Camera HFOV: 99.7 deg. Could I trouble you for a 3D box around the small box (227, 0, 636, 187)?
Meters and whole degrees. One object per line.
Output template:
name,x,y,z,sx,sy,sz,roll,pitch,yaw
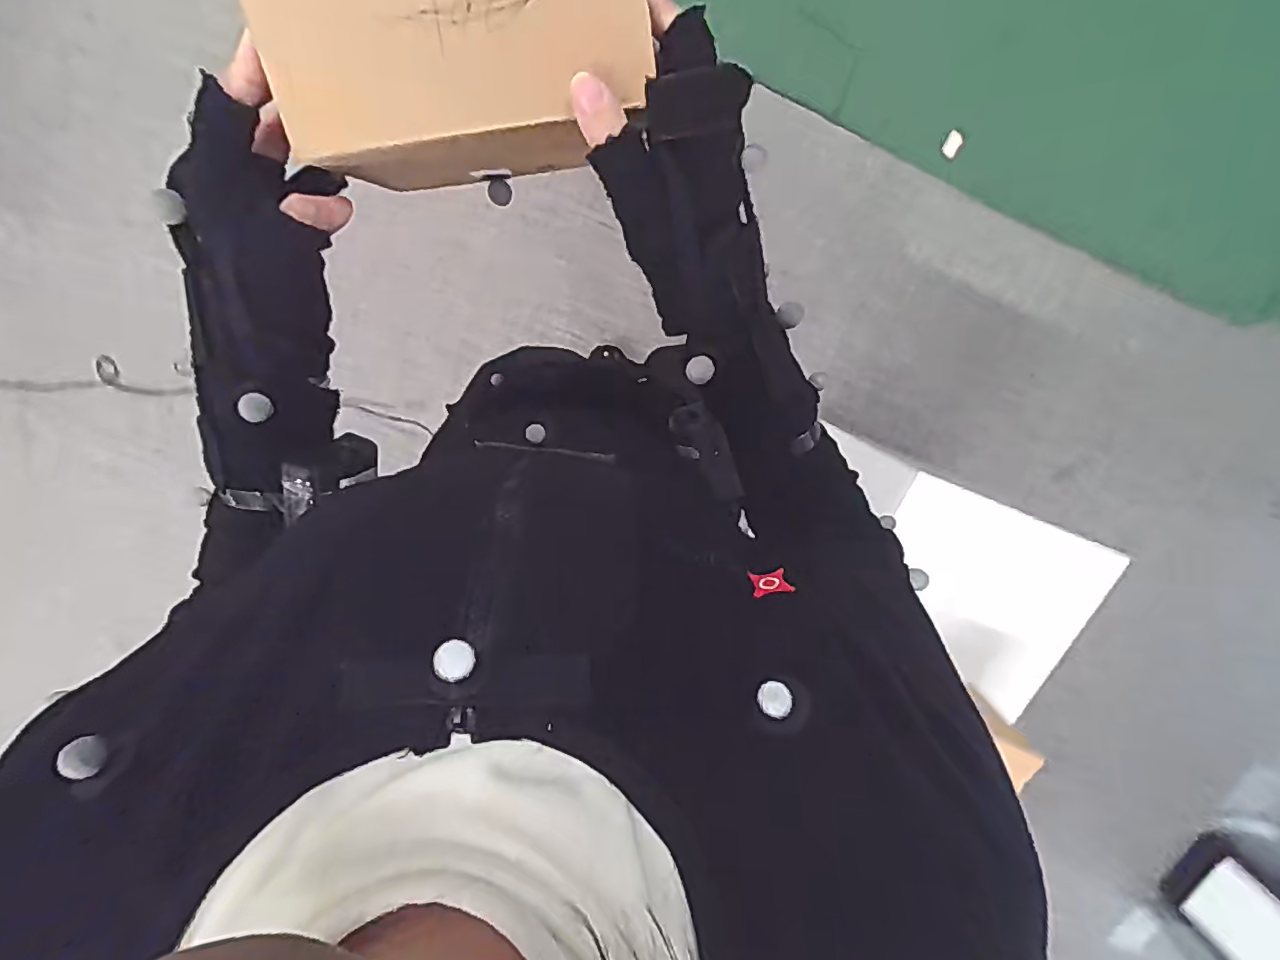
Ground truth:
small box,-0.101,-0.272,0.285,0.168,0.176,0.179,-10,114,-1
